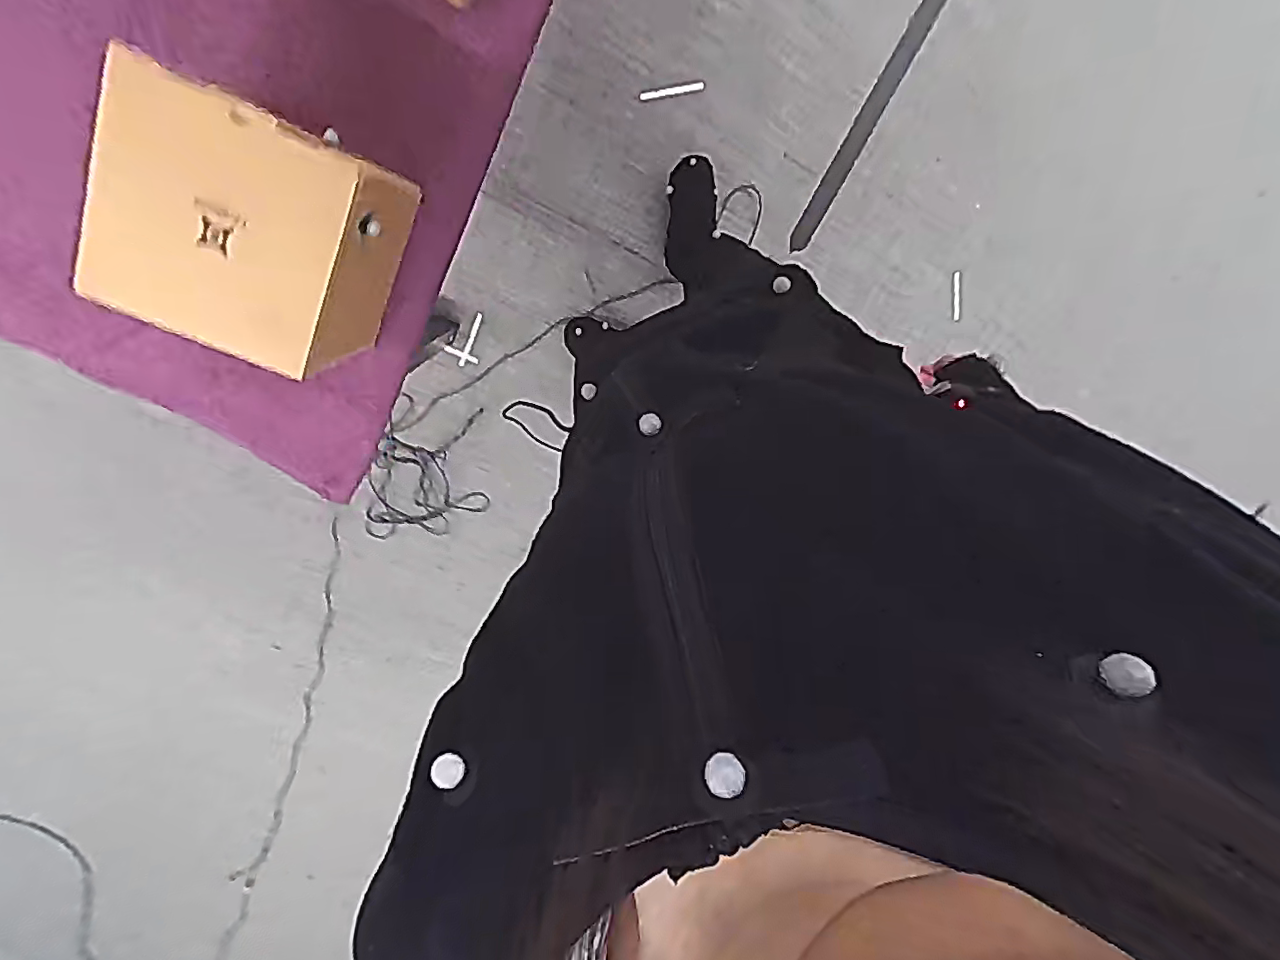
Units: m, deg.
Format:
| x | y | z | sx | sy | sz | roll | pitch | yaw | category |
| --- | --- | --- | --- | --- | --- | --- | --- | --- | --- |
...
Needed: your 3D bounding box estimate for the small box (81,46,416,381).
| x | y | z | sx | sy | sz | roll | pitch | yaw | category |
| --- | --- | --- | --- | --- | --- | --- | --- | --- | --- |
| -0.317 | -0.213 | 0.472 | 0.168 | 0.176 | 0.179 | 22 | 108 | -15 | small box |
